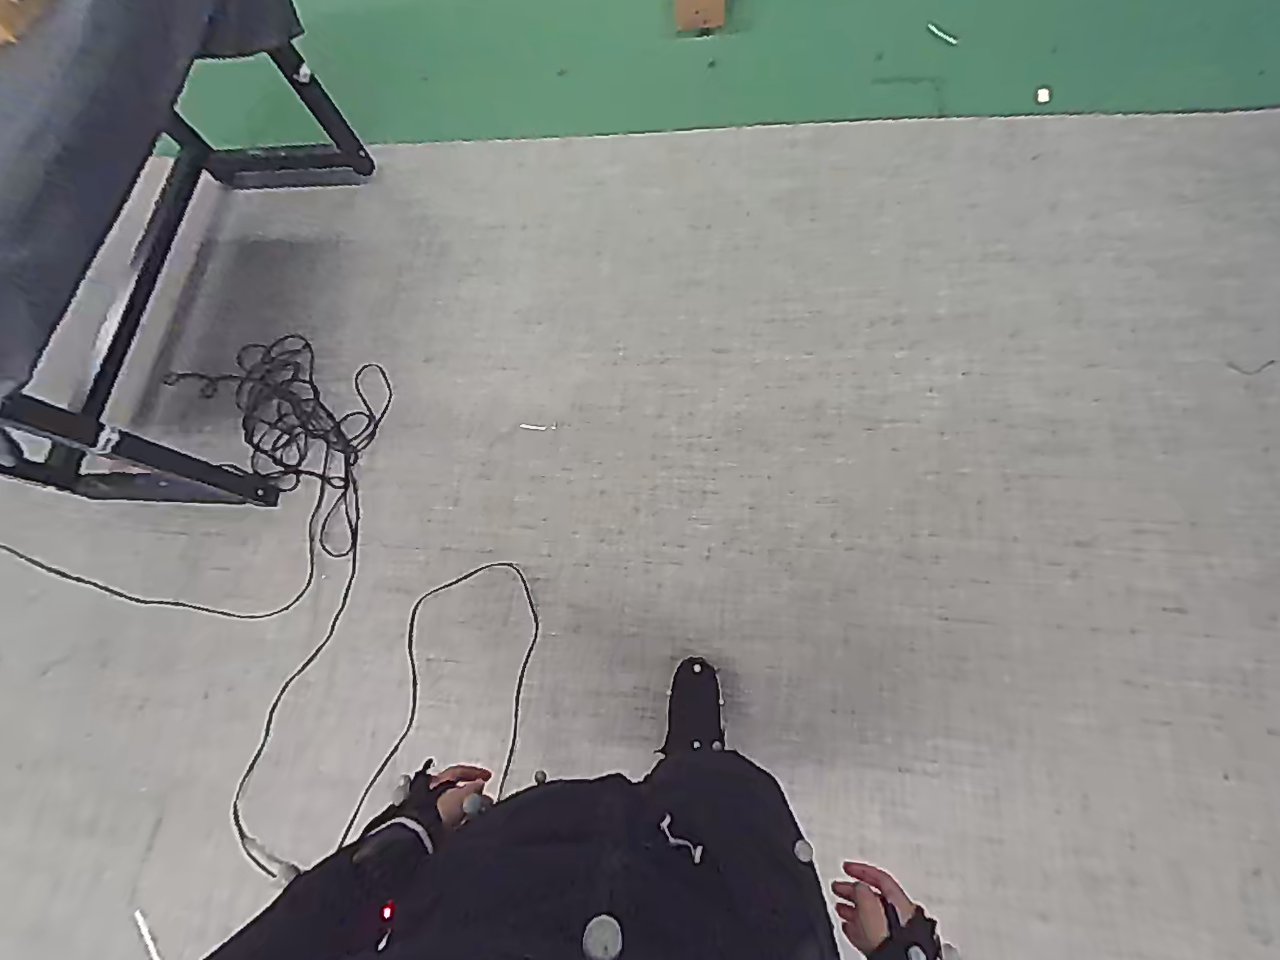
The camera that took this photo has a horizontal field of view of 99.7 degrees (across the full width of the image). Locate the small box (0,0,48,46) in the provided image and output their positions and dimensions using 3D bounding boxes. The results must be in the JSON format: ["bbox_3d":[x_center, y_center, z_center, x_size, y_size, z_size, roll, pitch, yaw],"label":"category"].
[{"bbox_3d":[-1.169,-0.868,0.906,0.179,0.176,0.168,3,74,8],"label":"small box"}]
